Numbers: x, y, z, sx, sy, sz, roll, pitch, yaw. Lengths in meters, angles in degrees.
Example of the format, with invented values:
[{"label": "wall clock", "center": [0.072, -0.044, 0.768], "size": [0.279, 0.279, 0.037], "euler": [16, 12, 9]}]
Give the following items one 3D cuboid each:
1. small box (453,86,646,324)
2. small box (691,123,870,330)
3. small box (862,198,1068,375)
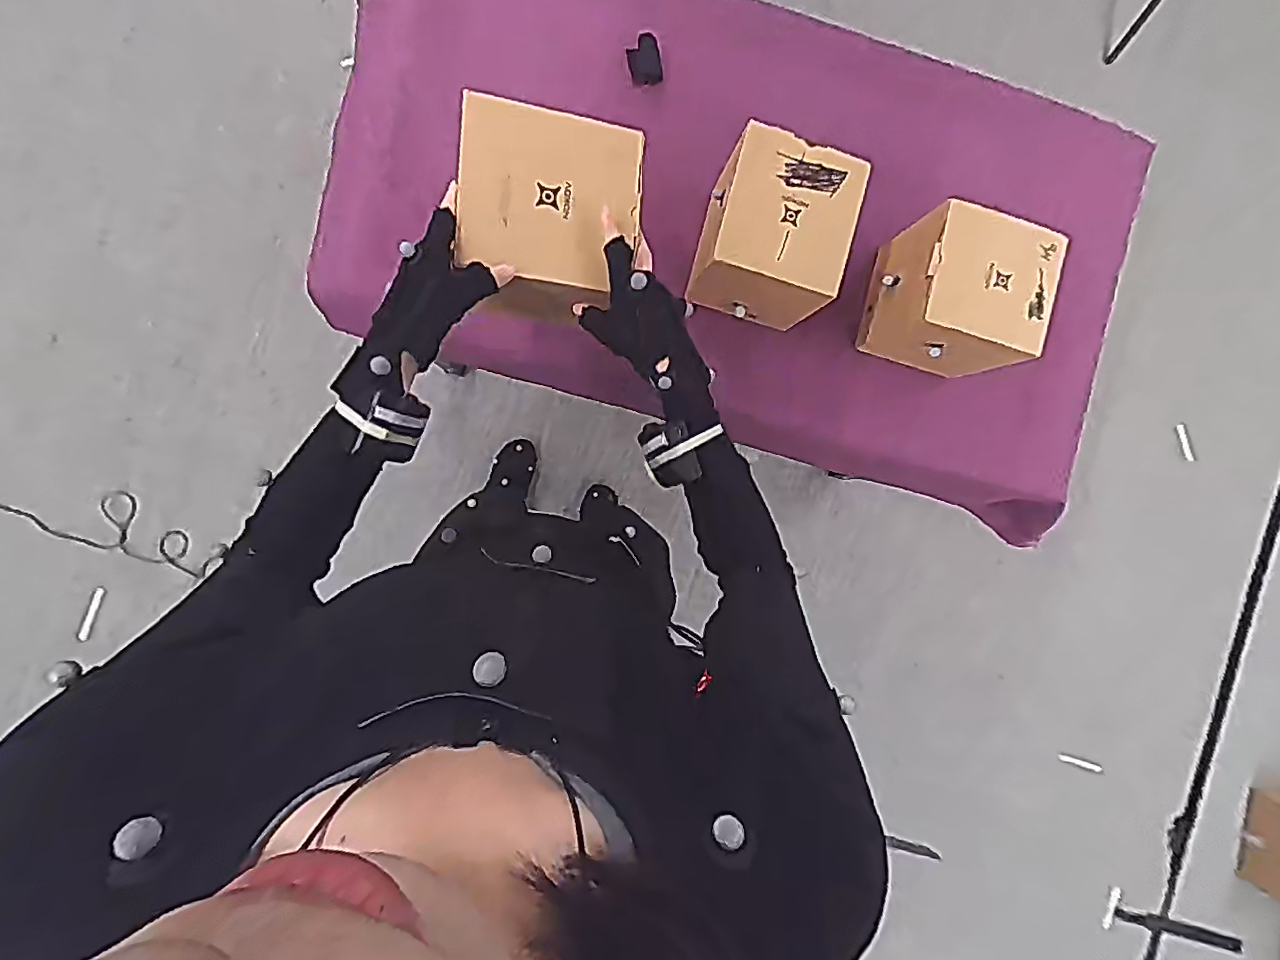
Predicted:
[{"label": "small box", "center": [-0.103, -0.280, 0.599], "size": [0.179, 0.176, 0.168], "euler": [4, 90, -13]}, {"label": "small box", "center": [0.179, -0.330, 0.740], "size": [0.168, 0.176, 0.179], "euler": [15, 89, -7]}, {"label": "small box", "center": [0.449, -0.261, 0.774], "size": [0.179, 0.176, 0.168], "euler": [14, 88, -6]}]
